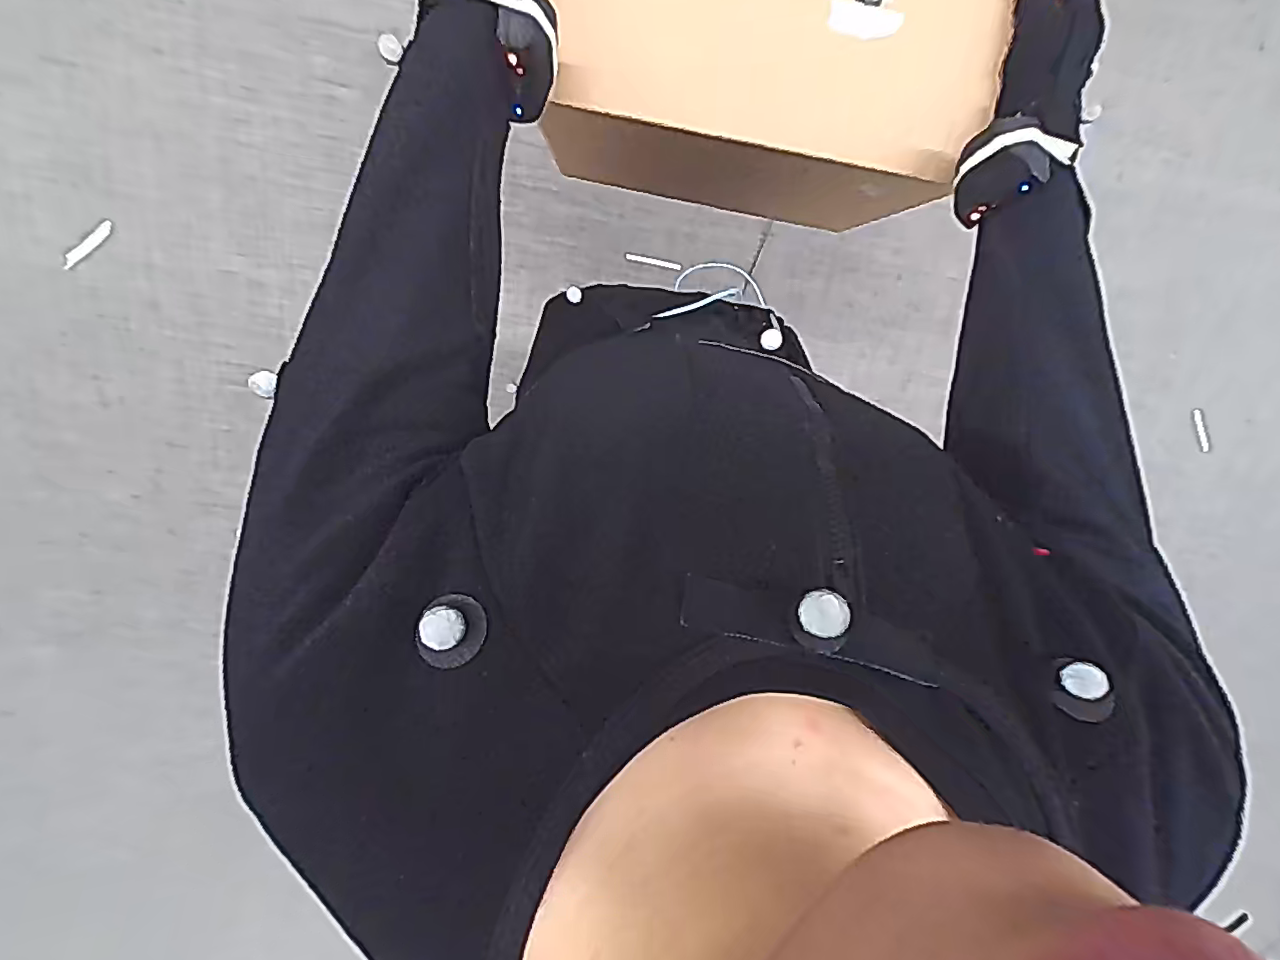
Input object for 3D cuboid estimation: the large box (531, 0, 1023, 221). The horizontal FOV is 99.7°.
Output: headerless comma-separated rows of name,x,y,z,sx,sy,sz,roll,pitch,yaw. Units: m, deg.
large box,0.120,-0.492,0.568,0.408,0.320,0.320,9,109,-5
